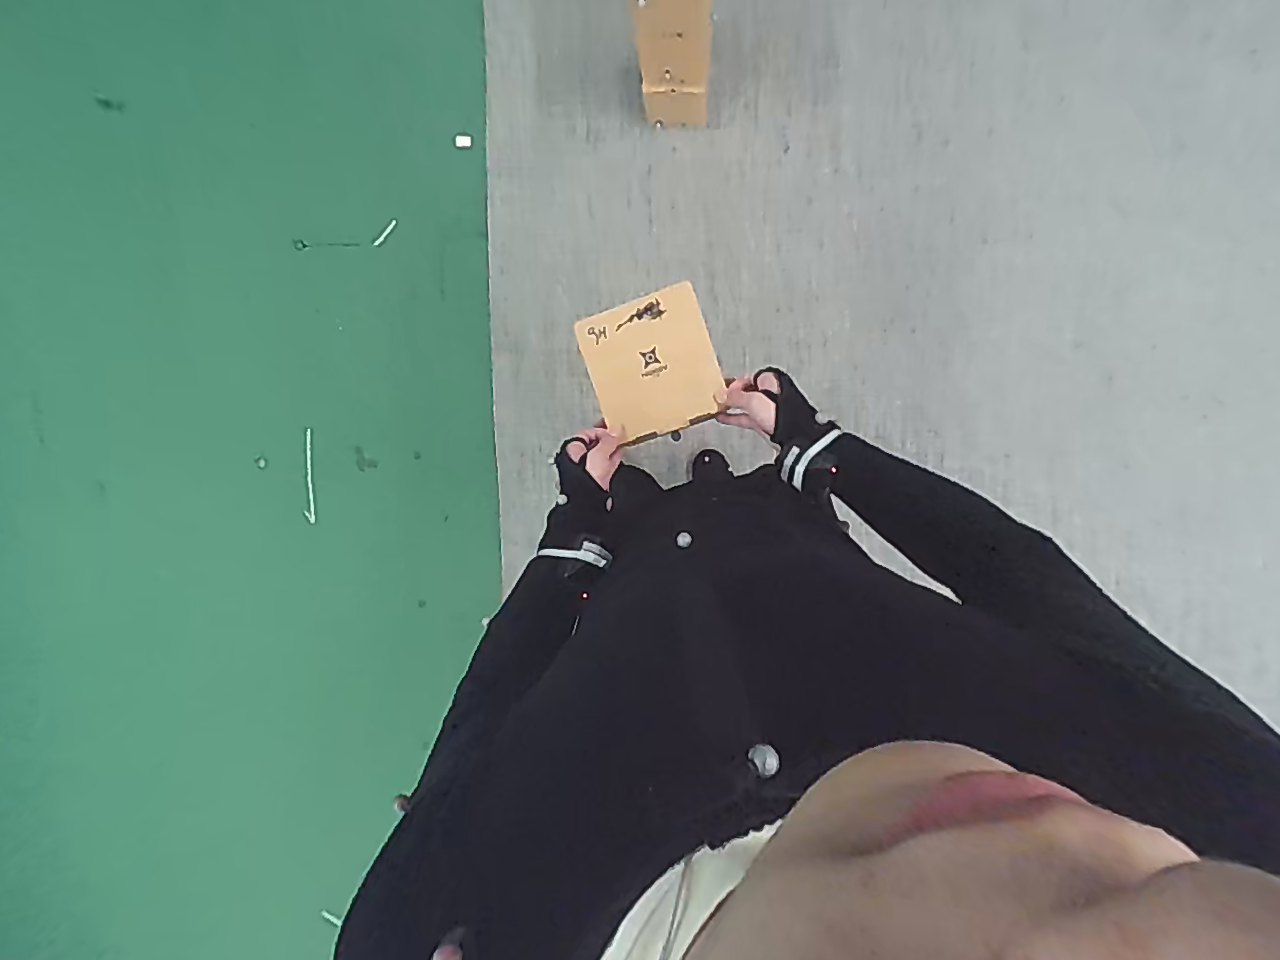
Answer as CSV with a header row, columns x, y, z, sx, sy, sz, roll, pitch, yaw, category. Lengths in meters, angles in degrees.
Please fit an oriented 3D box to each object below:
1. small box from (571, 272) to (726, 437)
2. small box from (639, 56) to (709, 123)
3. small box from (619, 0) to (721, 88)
x,y,z,sx,sy,sz,roll,pitch,yaw,category
0.017,-0.167,0.776,0.168,0.176,0.179,-17,93,5,small box
0.096,-1.093,1.452,0.168,0.176,0.179,6,95,6,small box
0.077,-1.099,1.298,0.179,0.176,0.168,38,100,3,small box
